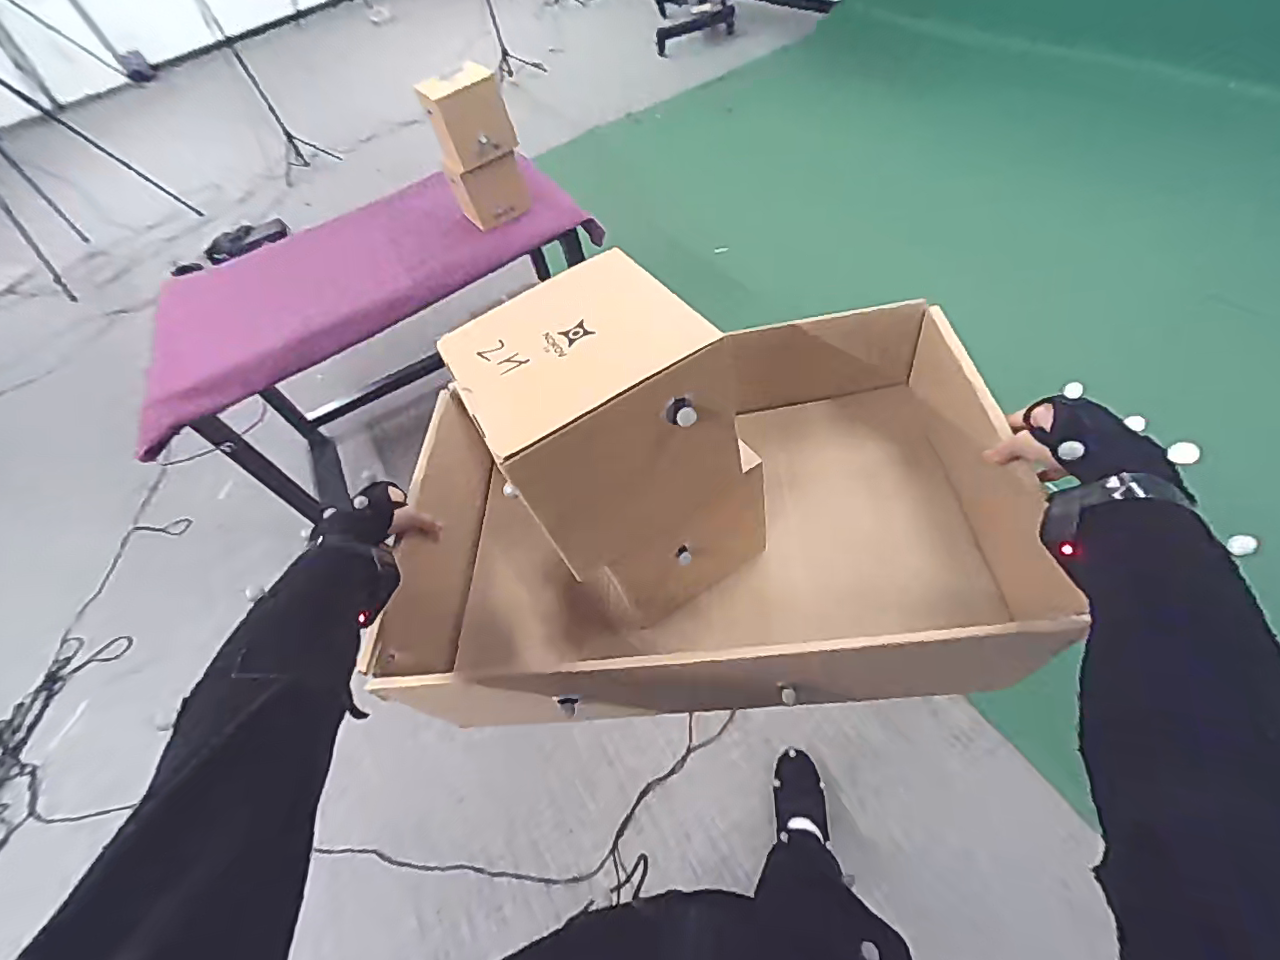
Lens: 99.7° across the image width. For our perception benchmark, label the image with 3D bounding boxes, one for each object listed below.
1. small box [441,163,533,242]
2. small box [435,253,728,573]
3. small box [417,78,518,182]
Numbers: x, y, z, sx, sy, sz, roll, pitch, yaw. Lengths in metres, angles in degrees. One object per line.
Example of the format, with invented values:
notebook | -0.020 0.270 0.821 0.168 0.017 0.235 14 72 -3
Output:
small box | -0.431 -0.806 1.535 0.168 0.176 0.179 -33 52 -10
small box | -0.038 -0.055 0.464 0.179 0.176 0.168 -32 50 -8
small box | -0.444 -0.906 1.403 0.168 0.176 0.179 -33 52 -10
